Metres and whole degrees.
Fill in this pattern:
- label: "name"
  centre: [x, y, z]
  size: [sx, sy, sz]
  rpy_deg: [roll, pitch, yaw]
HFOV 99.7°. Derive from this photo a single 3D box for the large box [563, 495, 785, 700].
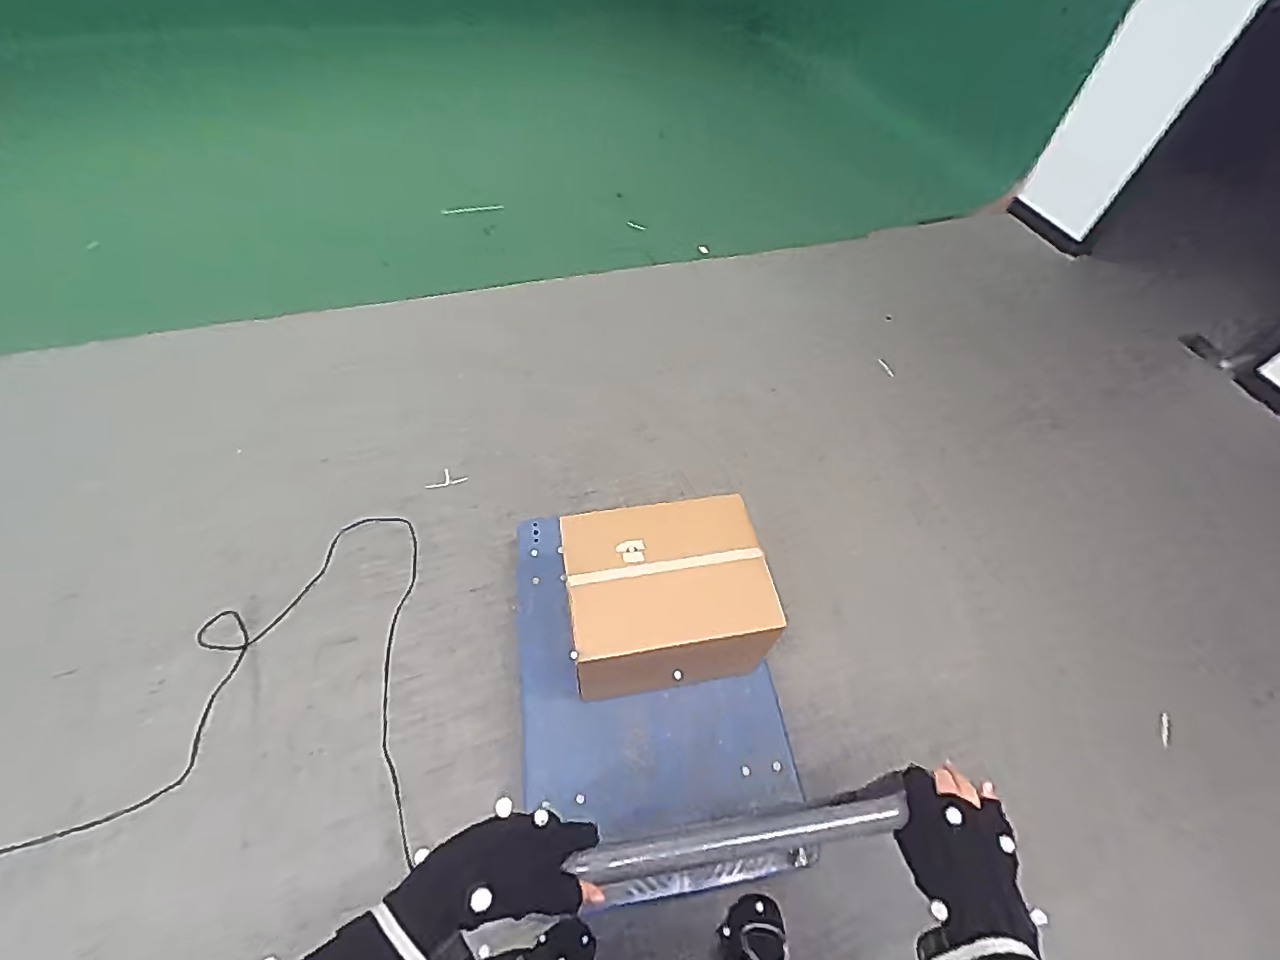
- label: "large box"
  centre: [0.053, 0.268, 1.215]
  size: [0.408, 0.320, 0.320]
  rpy_deg: [-7, 55, -9]
